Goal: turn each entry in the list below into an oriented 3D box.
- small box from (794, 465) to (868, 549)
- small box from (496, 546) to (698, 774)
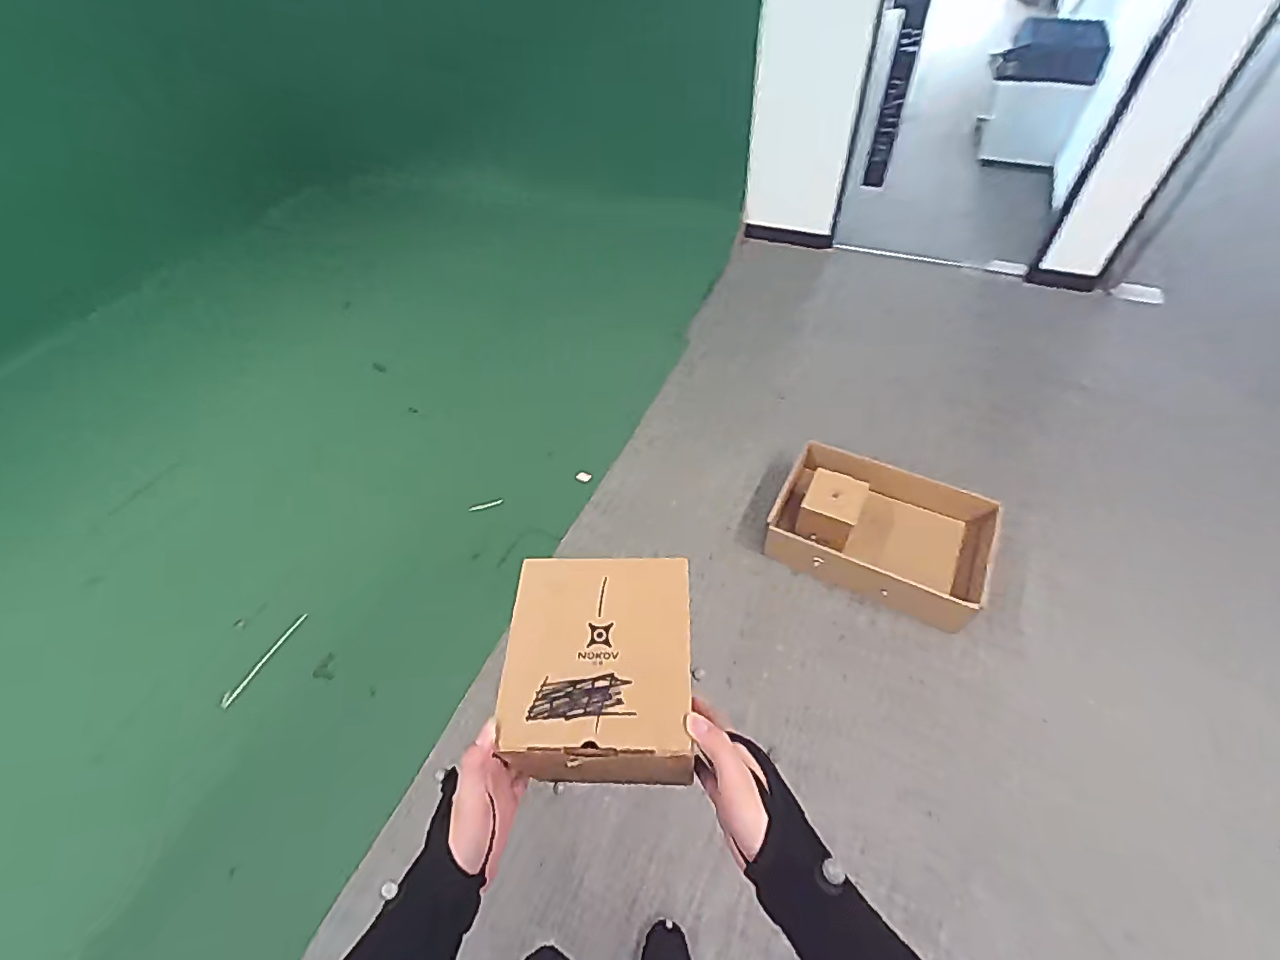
[{"bbox_3d":[0.606,0.087,1.729,0.168,0.176,0.179,21,57,20],"label":"small box"},{"bbox_3d":[-0.026,0.183,0.541,0.168,0.176,0.179,0,52,5],"label":"small box"}]
